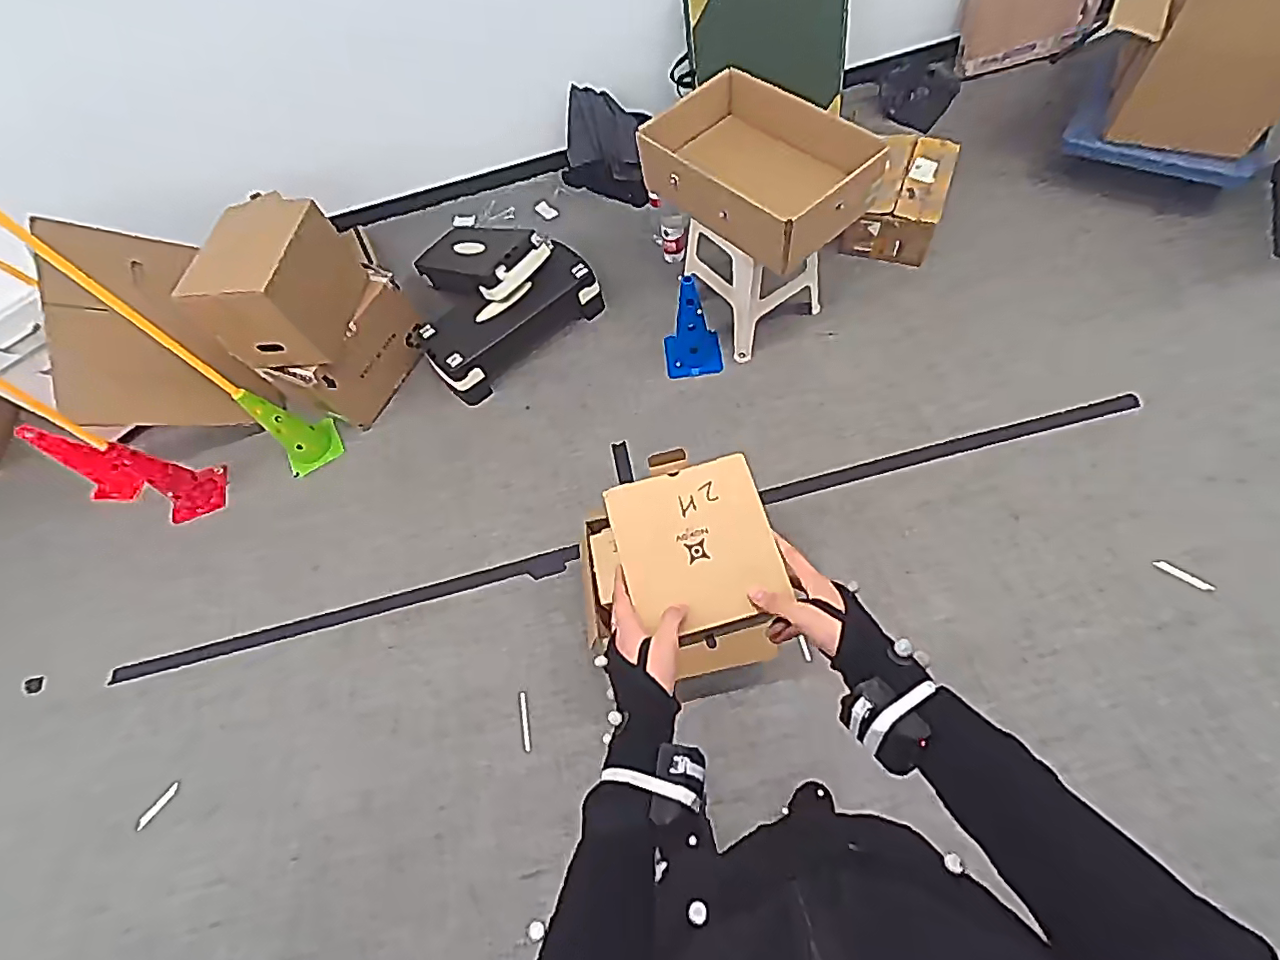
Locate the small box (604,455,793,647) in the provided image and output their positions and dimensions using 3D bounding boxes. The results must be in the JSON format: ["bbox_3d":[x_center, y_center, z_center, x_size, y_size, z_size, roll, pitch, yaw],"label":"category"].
[{"bbox_3d":[0.063,0.097,0.654,0.168,0.176,0.179,-15,69,-4],"label":"small box"}]
